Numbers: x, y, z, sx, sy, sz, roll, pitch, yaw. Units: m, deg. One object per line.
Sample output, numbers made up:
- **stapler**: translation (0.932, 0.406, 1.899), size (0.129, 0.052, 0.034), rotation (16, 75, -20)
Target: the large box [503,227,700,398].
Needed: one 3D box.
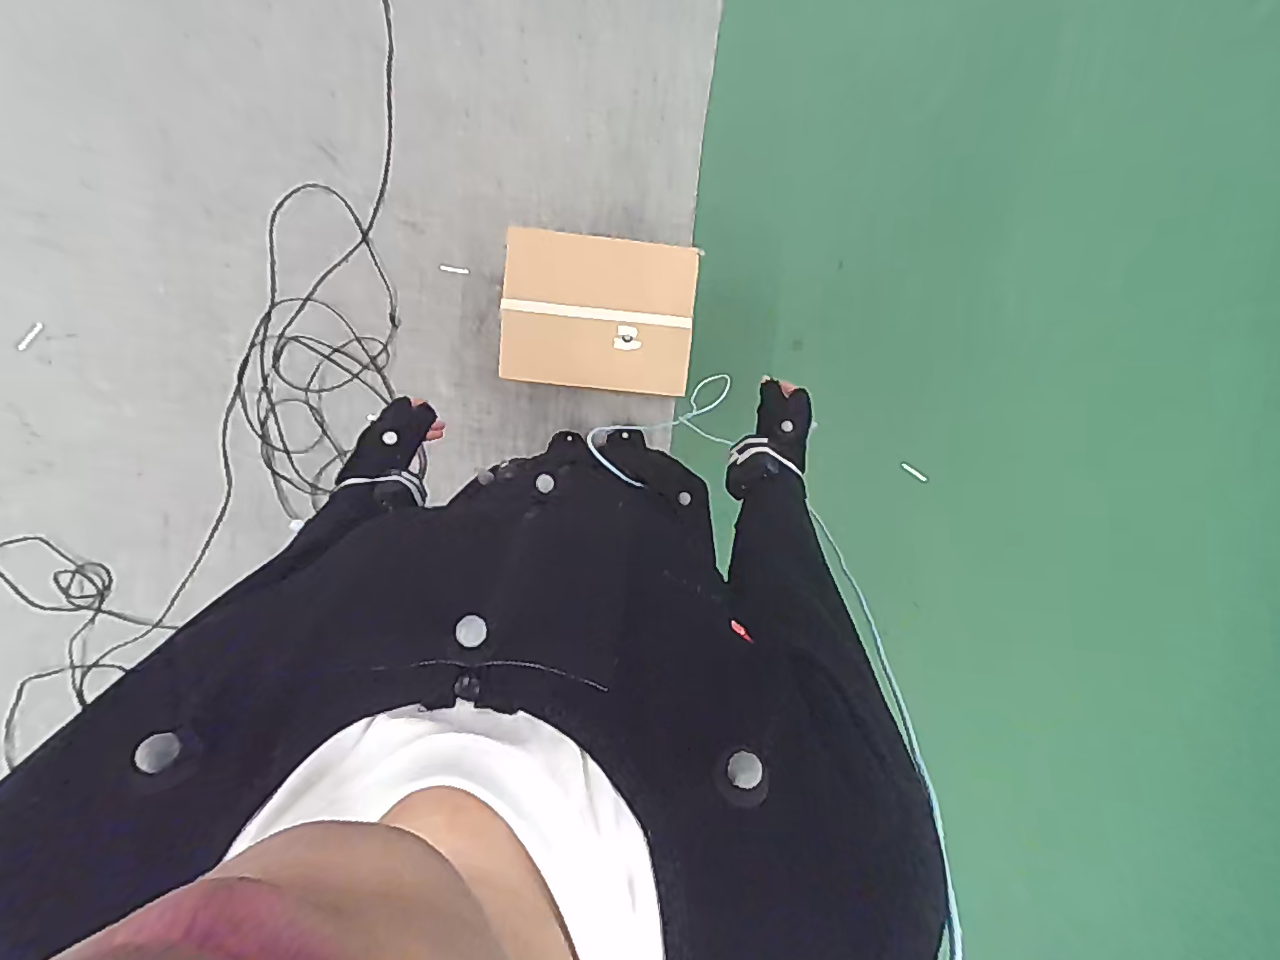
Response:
- **large box**: translation (-0.092, -0.373, 1.291), size (0.408, 0.320, 0.320), rotation (5, 97, -4)
